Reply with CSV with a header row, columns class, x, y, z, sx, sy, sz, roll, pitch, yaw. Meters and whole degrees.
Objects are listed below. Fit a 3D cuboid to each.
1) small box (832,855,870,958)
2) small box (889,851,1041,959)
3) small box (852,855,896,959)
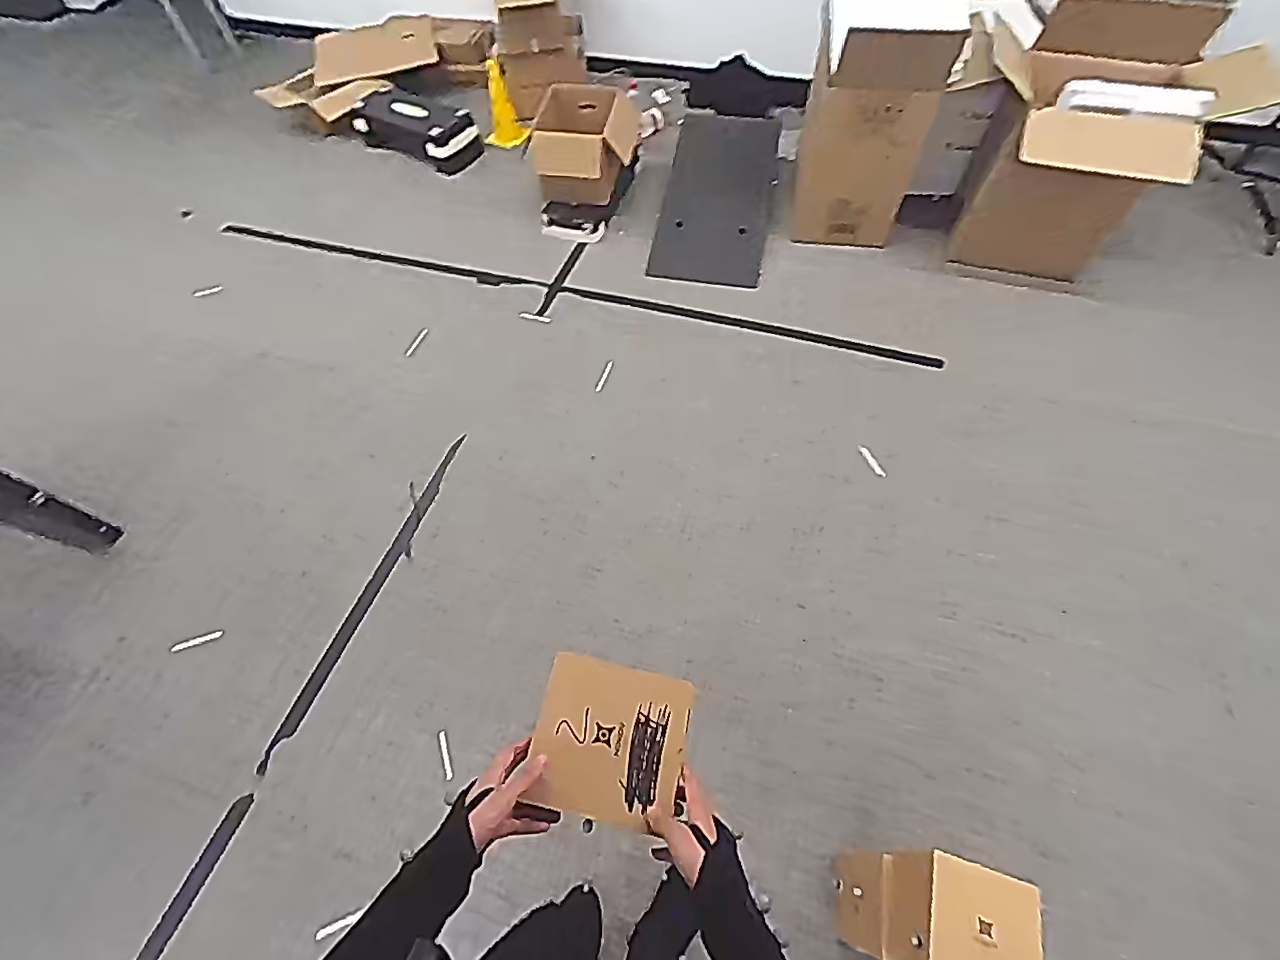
class,x,y,z,sx,sy,sz,roll,pitch,yaw
small box,0.535,0.936,1.178,0.179,0.176,0.168,10,59,8
small box,0.536,0.752,0.909,0.168,0.176,0.179,16,60,11
small box,0.527,0.844,1.043,0.179,0.176,0.168,11,59,9
